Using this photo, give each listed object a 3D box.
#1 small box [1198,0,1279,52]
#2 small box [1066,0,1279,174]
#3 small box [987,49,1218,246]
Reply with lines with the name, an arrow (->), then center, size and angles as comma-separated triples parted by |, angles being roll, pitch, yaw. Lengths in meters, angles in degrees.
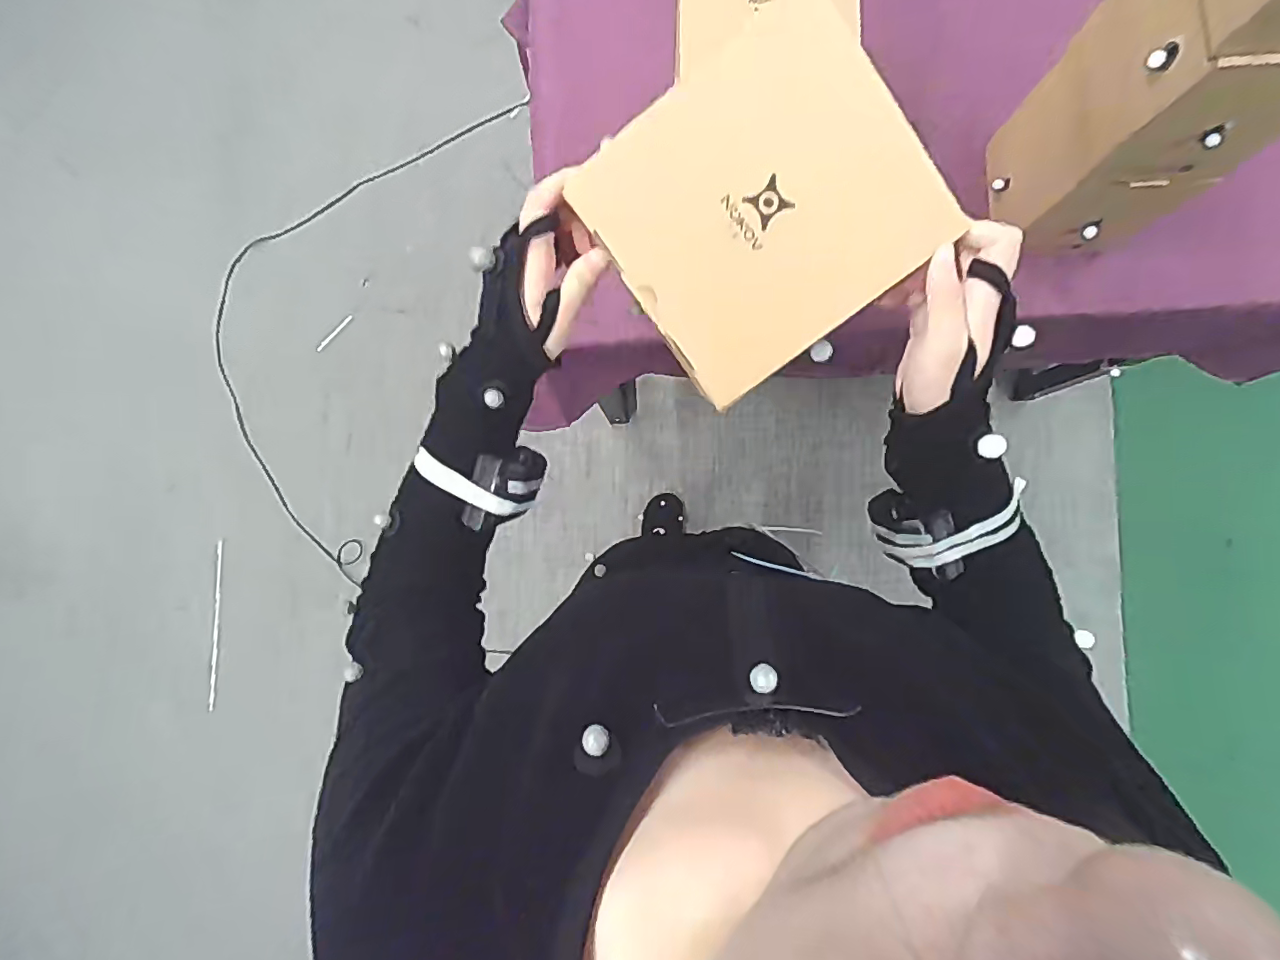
small box -> 0.571, -0.458, 0.392 | 0.179, 0.176, 0.168 | -2, 84, 3
small box -> 0.583, -0.440, 0.554 | 0.168, 0.176, 0.179 | -2, 85, 2
small box -> 0.595, -0.428, 0.719 | 0.168, 0.176, 0.179 | -1, 86, 2
